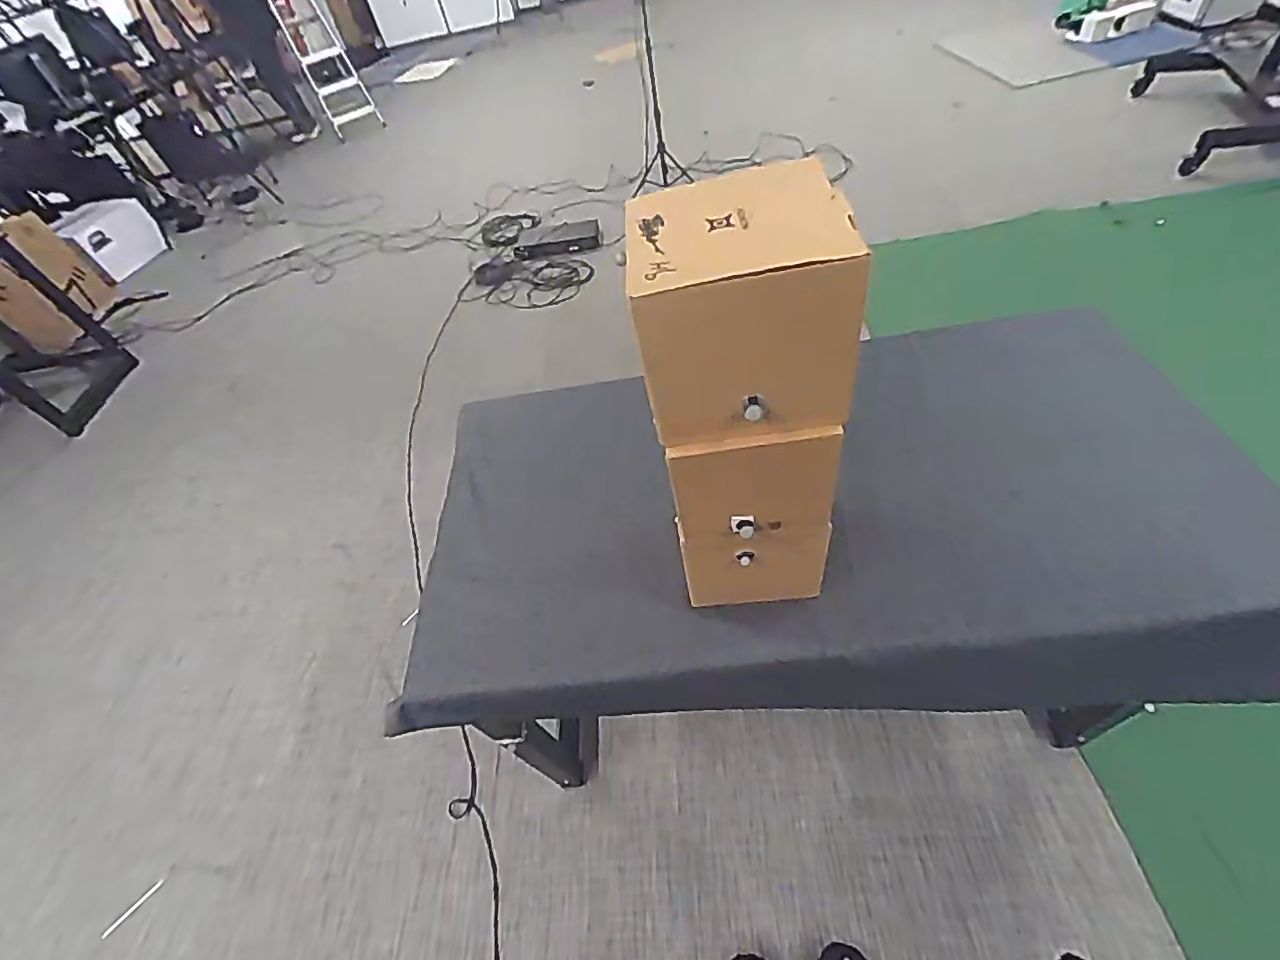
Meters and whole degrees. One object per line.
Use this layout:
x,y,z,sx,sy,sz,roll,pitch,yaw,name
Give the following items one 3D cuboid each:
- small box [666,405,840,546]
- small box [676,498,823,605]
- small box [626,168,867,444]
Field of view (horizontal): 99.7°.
0.117,-0.047,0.622,0.168,0.176,0.179,-9,51,7,small box
0.146,0.064,0.758,0.179,0.176,0.168,-6,51,6,small box
0.087,-0.154,0.501,0.179,0.176,0.168,-7,50,7,small box
